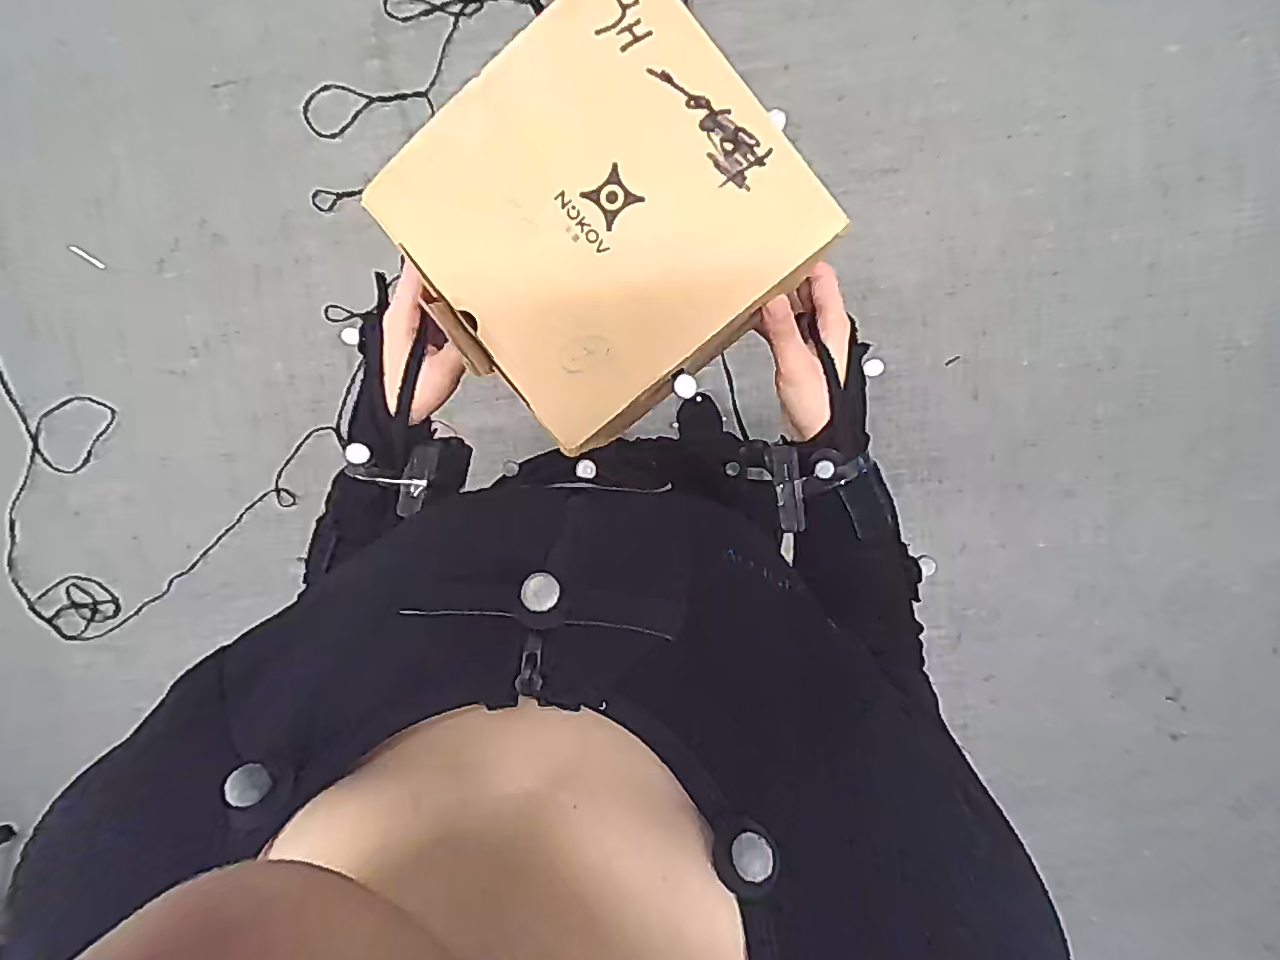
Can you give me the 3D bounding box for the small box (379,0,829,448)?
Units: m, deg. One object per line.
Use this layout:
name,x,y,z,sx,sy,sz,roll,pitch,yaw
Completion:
small box,-0.015,-0.139,0.351,0.179,0.176,0.168,-39,93,7
